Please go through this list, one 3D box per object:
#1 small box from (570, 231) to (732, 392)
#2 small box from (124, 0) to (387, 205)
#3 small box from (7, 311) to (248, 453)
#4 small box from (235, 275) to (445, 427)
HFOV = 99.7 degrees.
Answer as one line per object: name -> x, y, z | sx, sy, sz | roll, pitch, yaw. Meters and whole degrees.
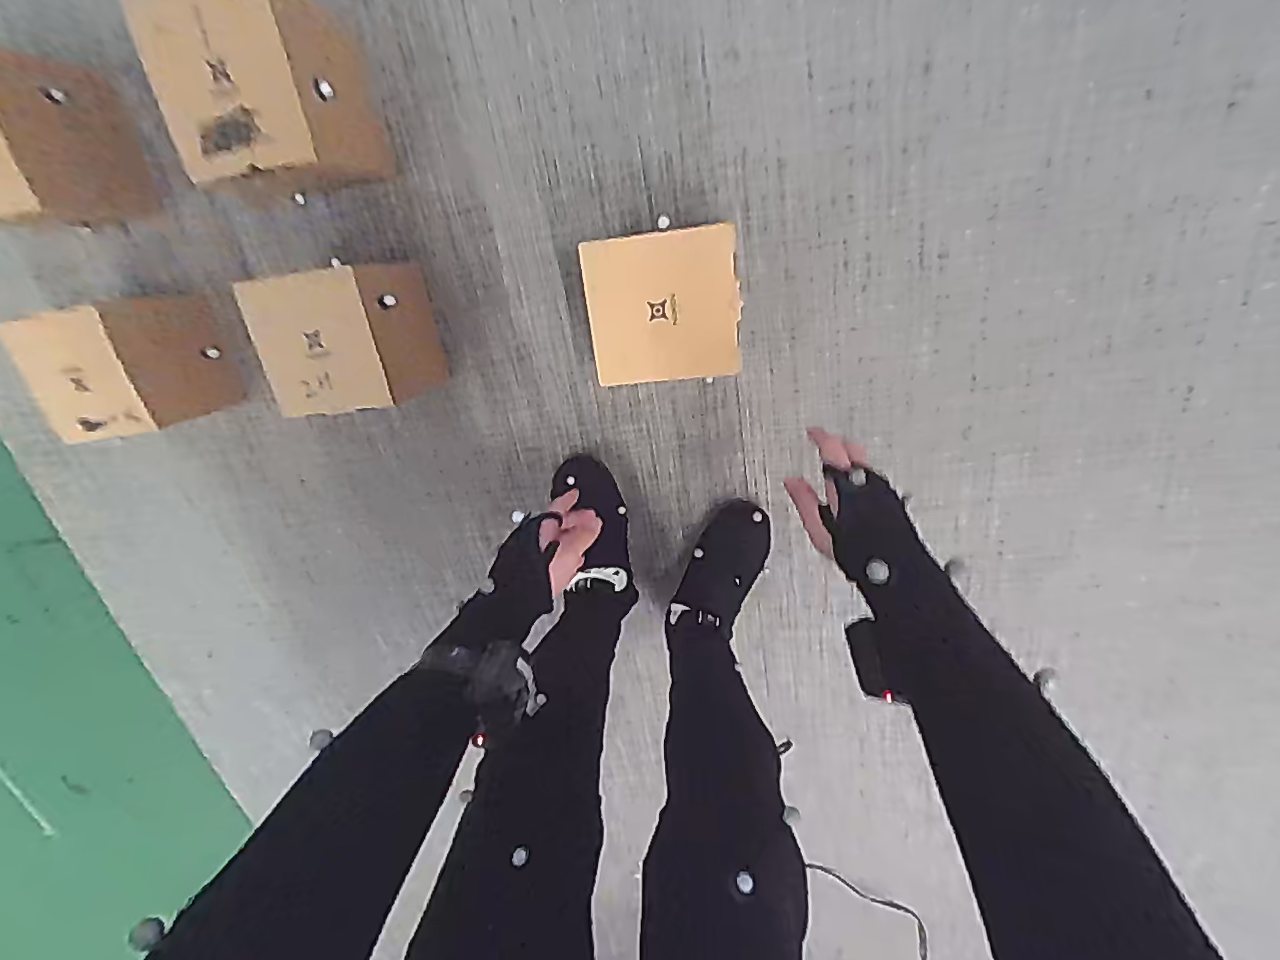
small box -> 0.024, -0.218, 0.699 | 0.179, 0.176, 0.168 | -5, 112, 8
small box -> -0.443, -0.443, 0.660 | 0.168, 0.176, 0.179 | -5, 112, 9
small box -> -0.756, -0.156, 0.822 | 0.168, 0.176, 0.179 | -6, 111, 10
small box -> -0.405, -0.188, 0.764 | 0.168, 0.176, 0.179 | -5, 112, 9
